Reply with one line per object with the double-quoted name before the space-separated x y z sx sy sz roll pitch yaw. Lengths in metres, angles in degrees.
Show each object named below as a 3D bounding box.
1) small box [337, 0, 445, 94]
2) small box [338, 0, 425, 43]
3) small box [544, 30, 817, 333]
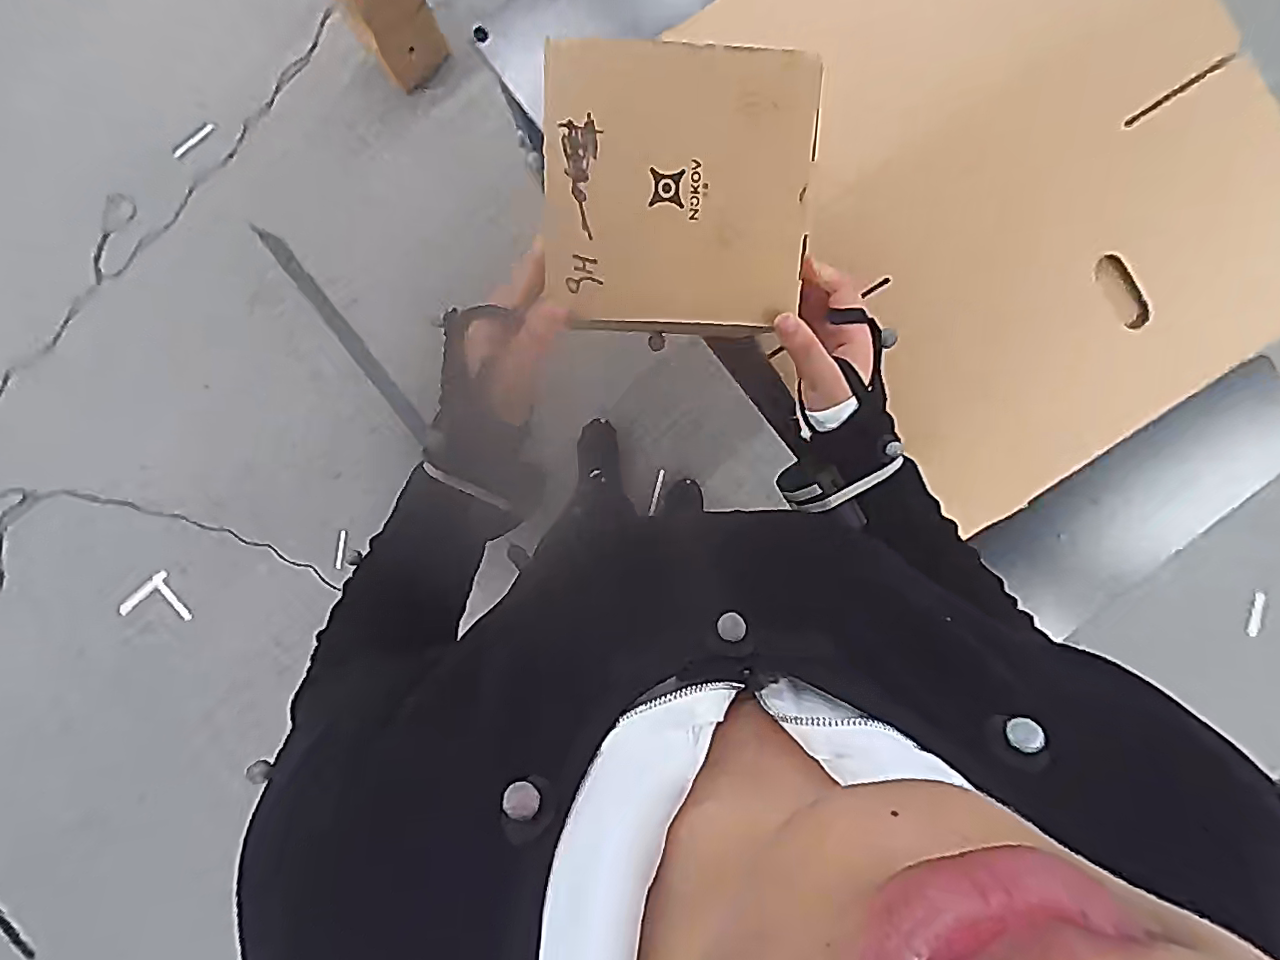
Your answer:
"small box" -0.640 -1.186 1.424 0.179 0.176 0.168 -42 90 2
"small box" -0.638 -1.189 1.261 0.179 0.176 0.168 -45 90 0
"small box" 0.017 -0.208 0.430 0.179 0.176 0.168 1 102 -6
